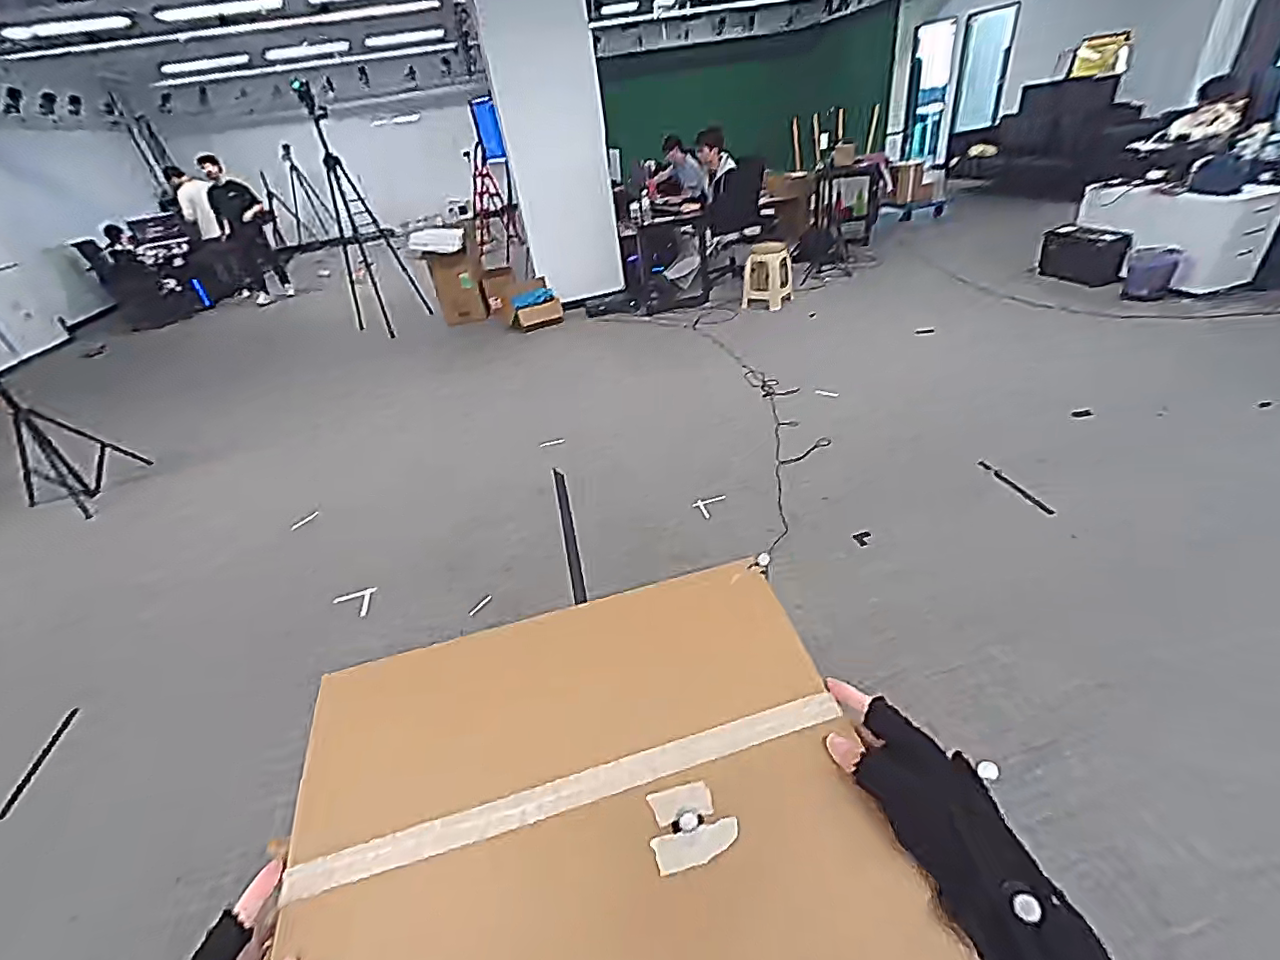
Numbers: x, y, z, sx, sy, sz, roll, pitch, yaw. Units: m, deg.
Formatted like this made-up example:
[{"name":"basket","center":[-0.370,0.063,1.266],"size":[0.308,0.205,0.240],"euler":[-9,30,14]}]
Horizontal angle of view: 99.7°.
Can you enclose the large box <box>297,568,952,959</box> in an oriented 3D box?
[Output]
[{"name":"large box","center":[-0.028,0.341,0.502],"size":[0.408,0.320,0.320],"euler":[-13,43,-9]}]
